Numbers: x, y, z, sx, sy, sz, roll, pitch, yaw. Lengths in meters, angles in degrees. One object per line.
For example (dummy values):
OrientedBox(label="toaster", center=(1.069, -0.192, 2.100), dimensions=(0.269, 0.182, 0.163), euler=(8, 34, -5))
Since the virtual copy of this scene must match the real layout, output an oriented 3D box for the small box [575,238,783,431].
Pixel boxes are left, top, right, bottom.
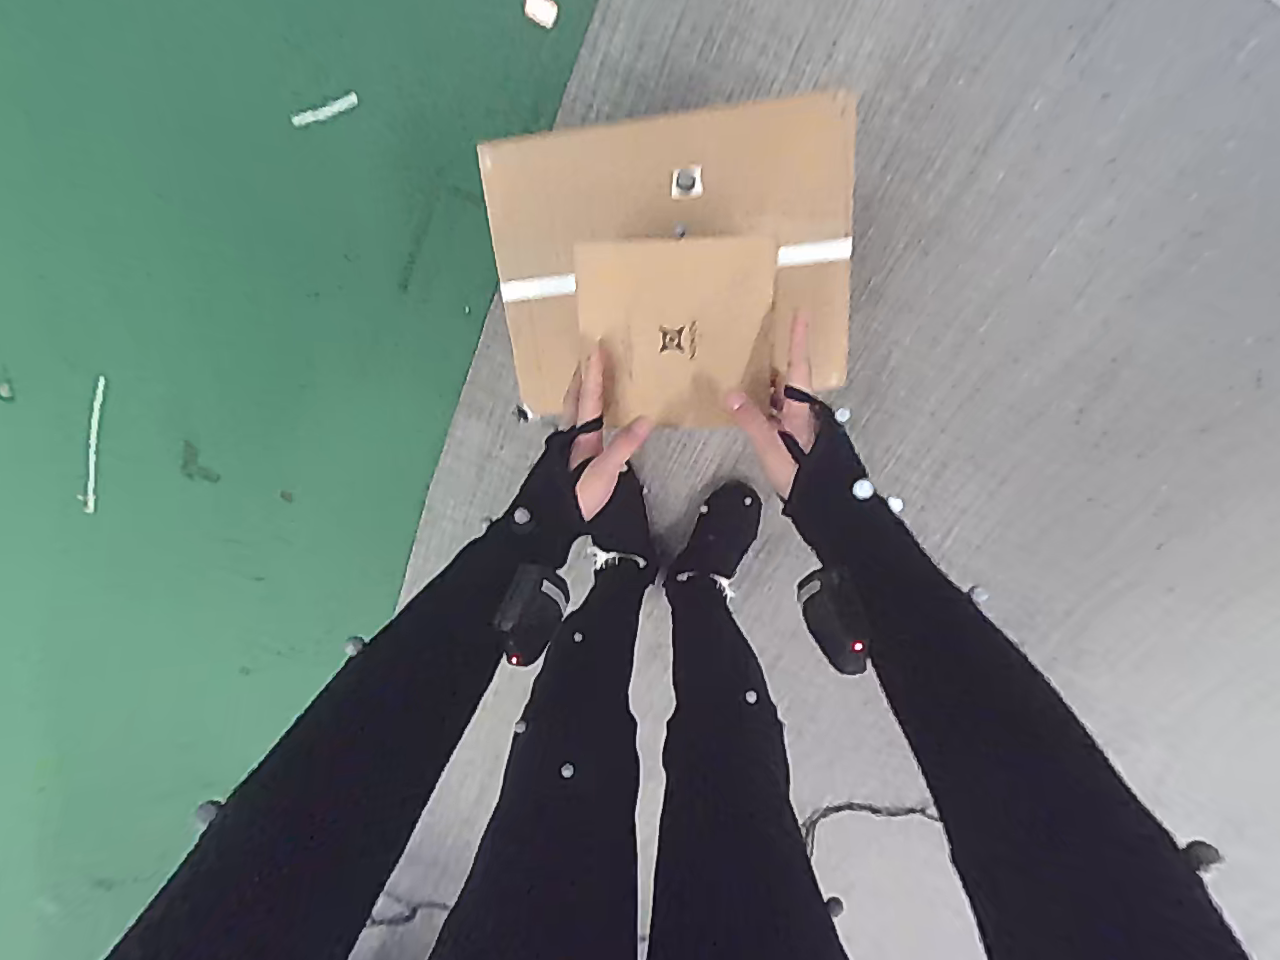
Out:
OrientedBox(label="small box", center=(0.036, -0.151, 0.549), dimensions=(0.179, 0.176, 0.168), euler=(-1, 110, 3))
